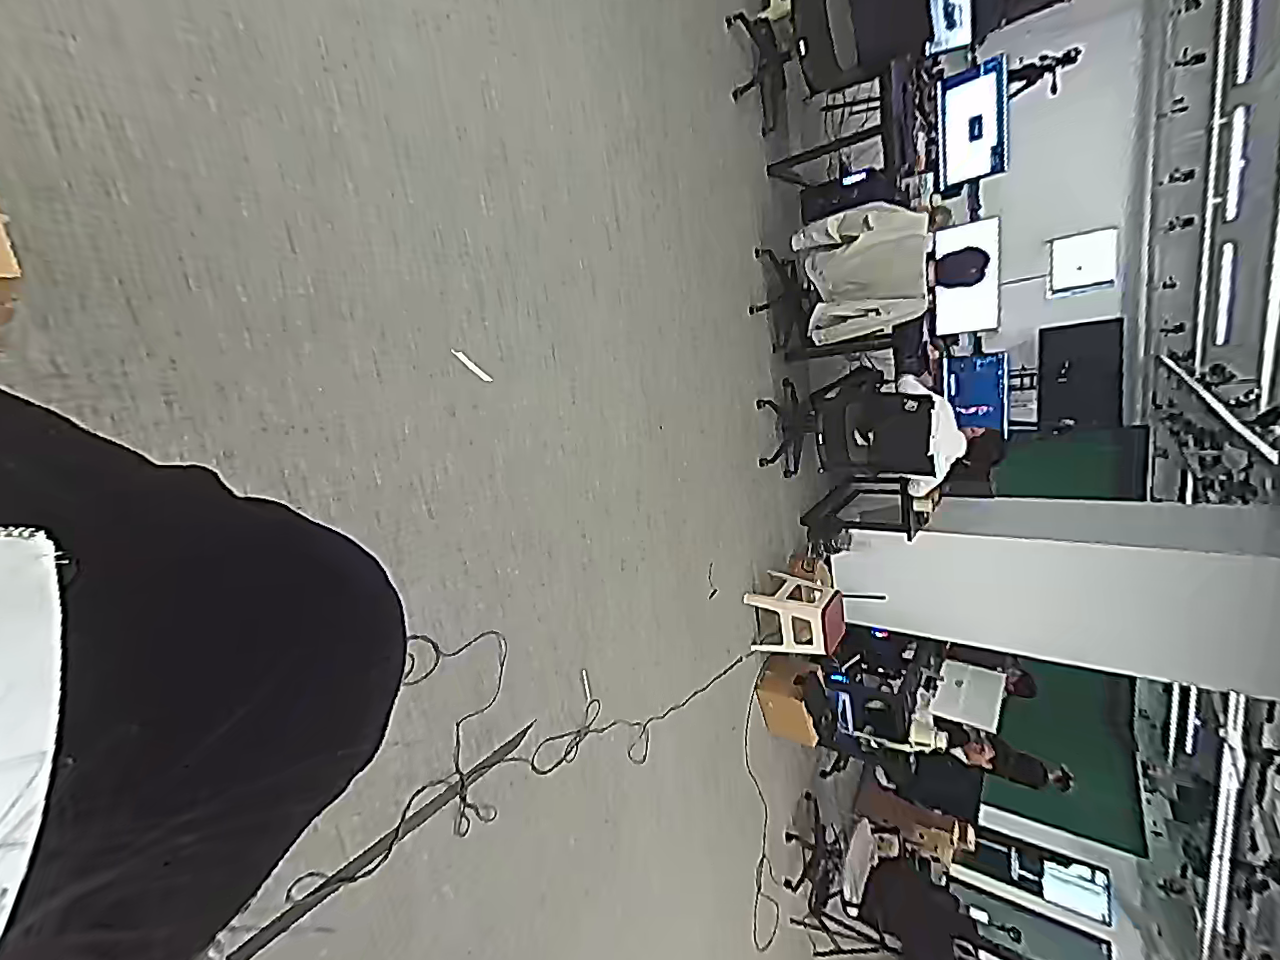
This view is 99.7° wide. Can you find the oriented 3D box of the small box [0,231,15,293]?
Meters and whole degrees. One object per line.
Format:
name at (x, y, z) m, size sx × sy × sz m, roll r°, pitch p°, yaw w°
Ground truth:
small box at (-0.803, -0.289, 0.555) m, size 0.168 × 0.176 × 0.179 m, roll -24°, pitch 112°, yaw -49°
